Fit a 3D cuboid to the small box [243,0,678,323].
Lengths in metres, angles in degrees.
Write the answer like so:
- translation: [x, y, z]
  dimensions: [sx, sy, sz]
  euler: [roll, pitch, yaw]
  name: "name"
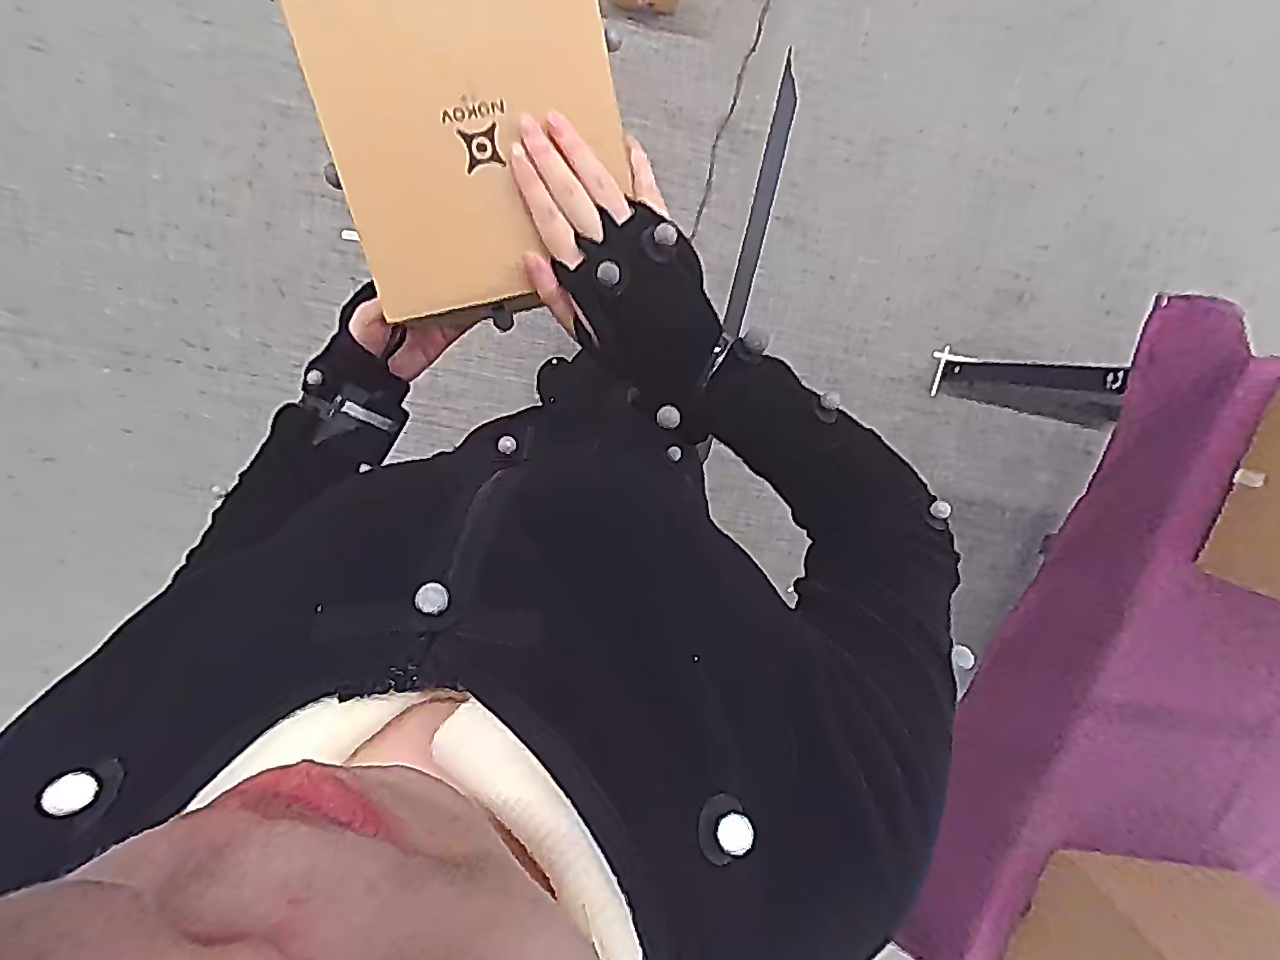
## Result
- translation: [-0.094, -0.222, 0.340]
  dimensions: [0.179, 0.176, 0.168]
  euler: [-15, 87, 15]
  name: "small box"
